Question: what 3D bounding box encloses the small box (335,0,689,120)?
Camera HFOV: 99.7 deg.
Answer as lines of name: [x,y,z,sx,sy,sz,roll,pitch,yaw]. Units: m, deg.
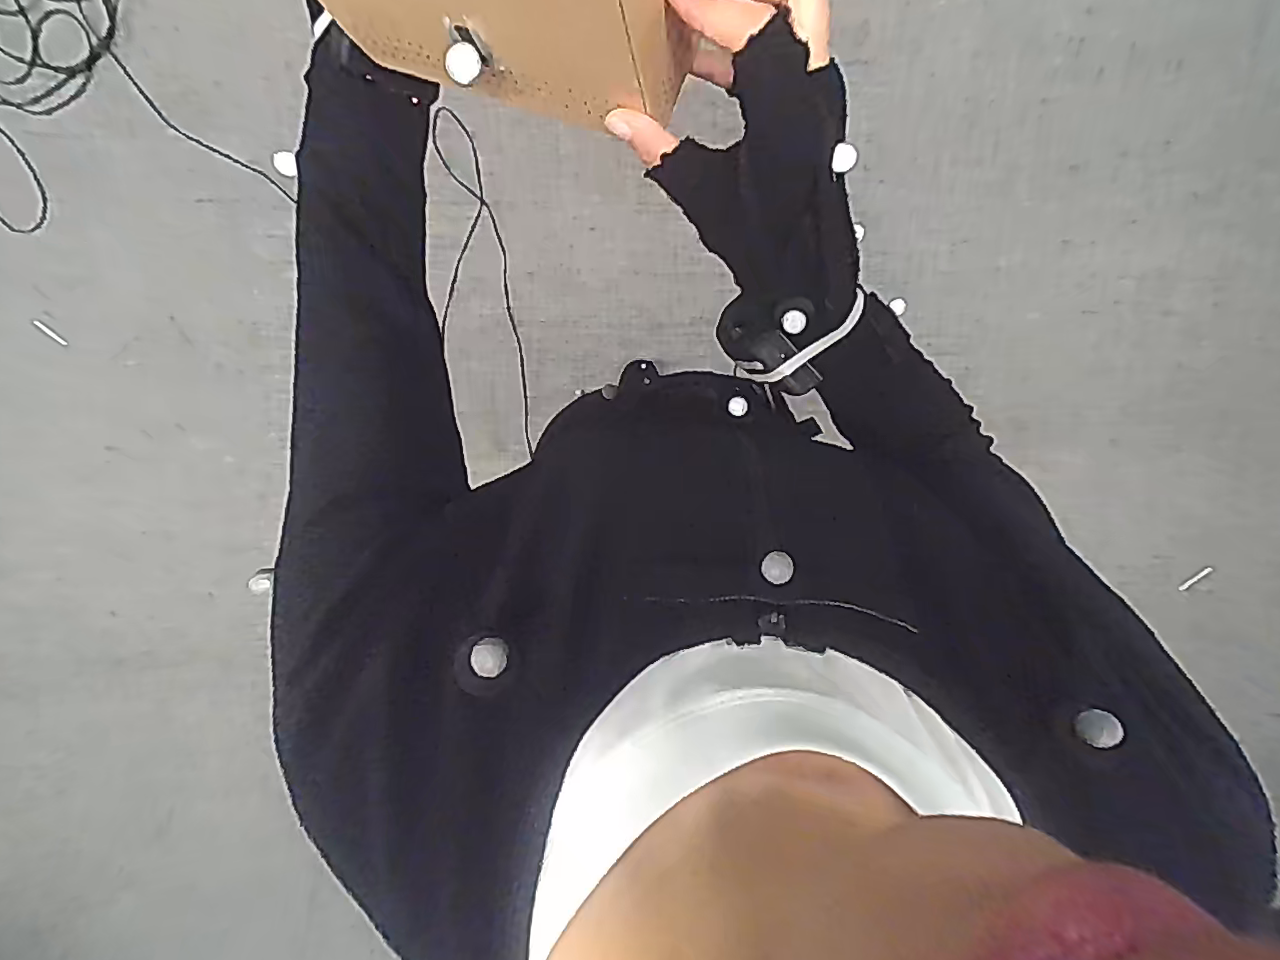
small box: [-0.056,-0.283,0.208,0.179,0.176,0.168,23,93,9]
